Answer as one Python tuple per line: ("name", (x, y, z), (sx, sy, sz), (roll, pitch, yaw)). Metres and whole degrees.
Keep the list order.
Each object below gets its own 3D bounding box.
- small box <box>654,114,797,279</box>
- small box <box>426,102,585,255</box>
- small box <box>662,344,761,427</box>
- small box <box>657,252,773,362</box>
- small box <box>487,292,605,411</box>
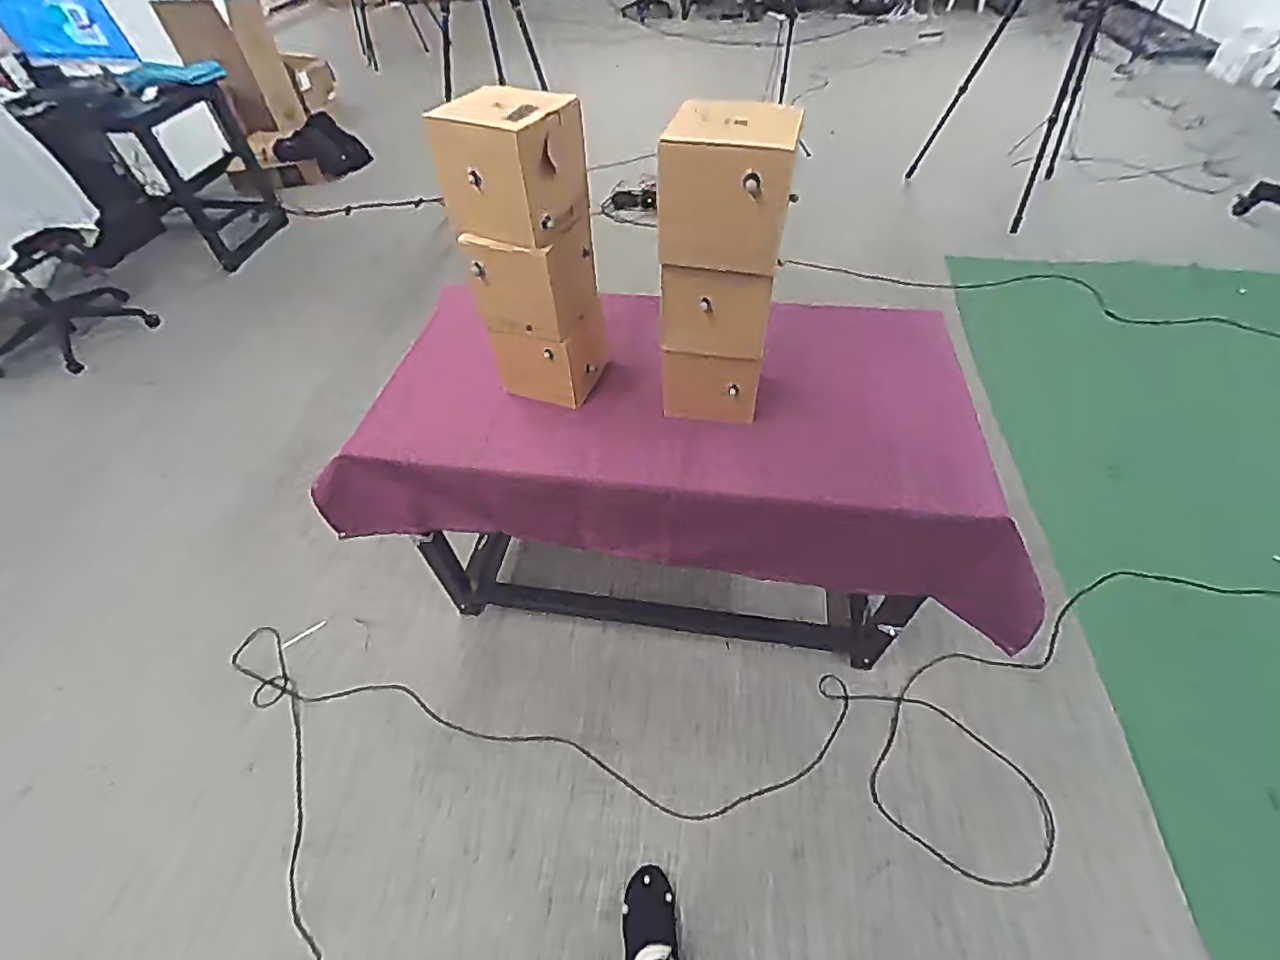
("small box", (0.124, -0.420, 0.807), (0.179, 0.176, 0.168), (11, 50, 12))
("small box", (-0.206, -0.491, 0.886), (0.179, 0.176, 0.168), (20, 52, 19))
("small box", (0.142, -0.223, 1.071), (0.179, 0.176, 0.168), (6, 49, 9))
("small box", (0.132, -0.324, 0.942), (0.179, 0.176, 0.168), (8, 50, 10))
("small box", (-0.184, -0.264, 1.124), (0.179, 0.176, 0.168), (14, 52, 14))
